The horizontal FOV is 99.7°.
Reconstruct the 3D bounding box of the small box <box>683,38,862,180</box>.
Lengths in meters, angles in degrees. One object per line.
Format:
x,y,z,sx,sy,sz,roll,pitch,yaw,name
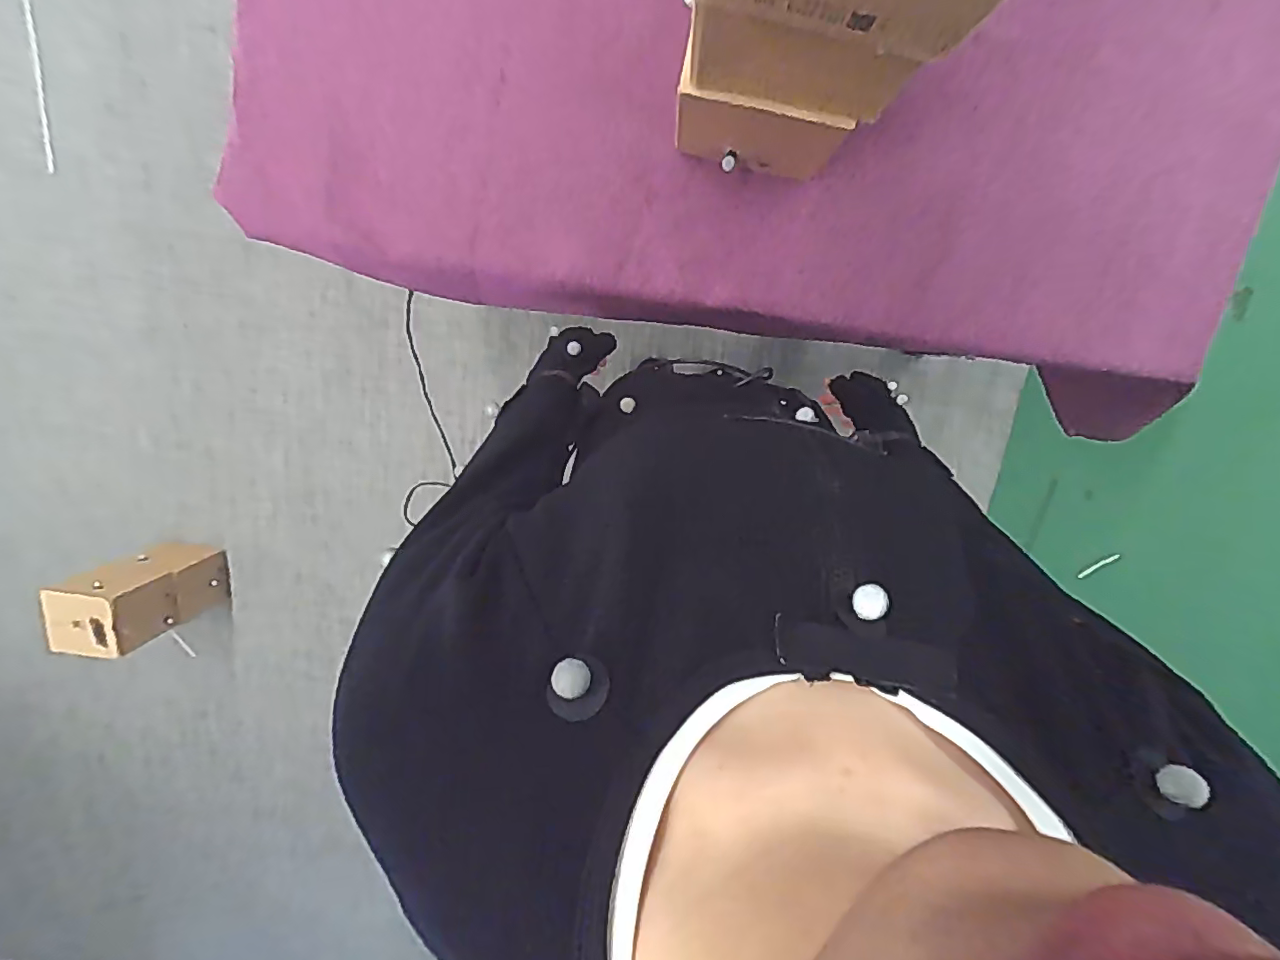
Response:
0.139,-0.433,0.541,0.168,0.176,0.179,13,105,0,small box

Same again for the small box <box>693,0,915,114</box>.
0.138,-0.395,0.383,0.179,0.176,0.168,11,104,0,small box

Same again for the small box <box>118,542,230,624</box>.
-1.315,0.285,1.536,0.179,0.176,0.168,8,105,0,small box

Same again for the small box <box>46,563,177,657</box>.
-1.329,0.323,1.376,0.179,0.176,0.168,7,104,2,small box
